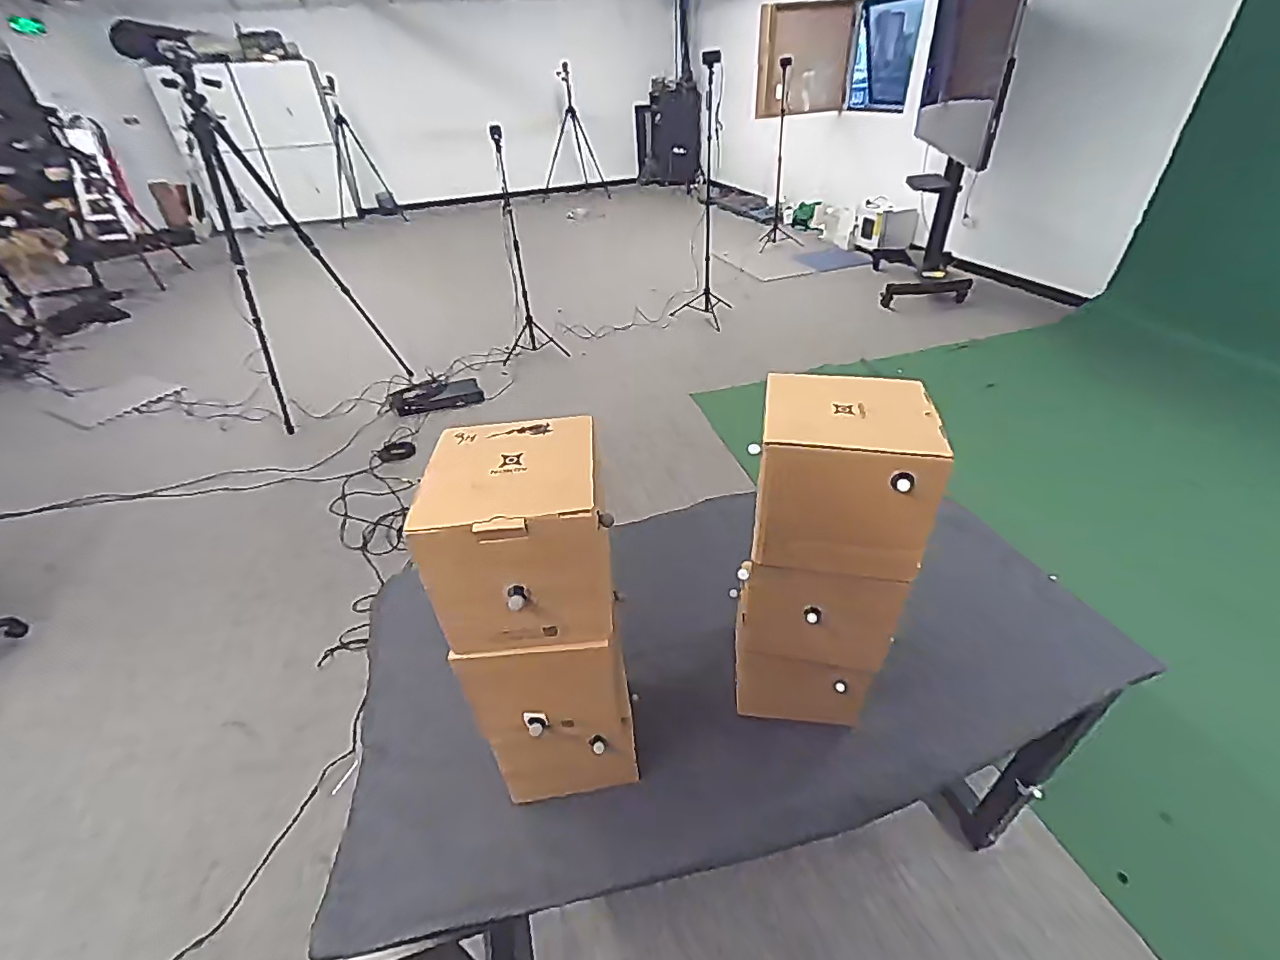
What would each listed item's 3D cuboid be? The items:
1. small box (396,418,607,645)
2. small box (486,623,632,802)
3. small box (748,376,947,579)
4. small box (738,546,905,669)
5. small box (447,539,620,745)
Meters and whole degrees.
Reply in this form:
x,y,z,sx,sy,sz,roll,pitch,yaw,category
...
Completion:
x,y,z,sx,sy,sz,roll,pitch,yaw,category
-0.126,0.057,0.570,0.168,0.176,0.179,-6,37,-1,small box
-0.106,0.321,0.761,0.179,0.176,0.168,-8,36,-5,small box
0.220,-0.005,0.621,0.179,0.176,0.168,5,36,11,small box
0.231,0.125,0.717,0.179,0.176,0.168,6,37,13,small box
-0.115,0.193,0.662,0.168,0.176,0.179,-6,37,0,small box
